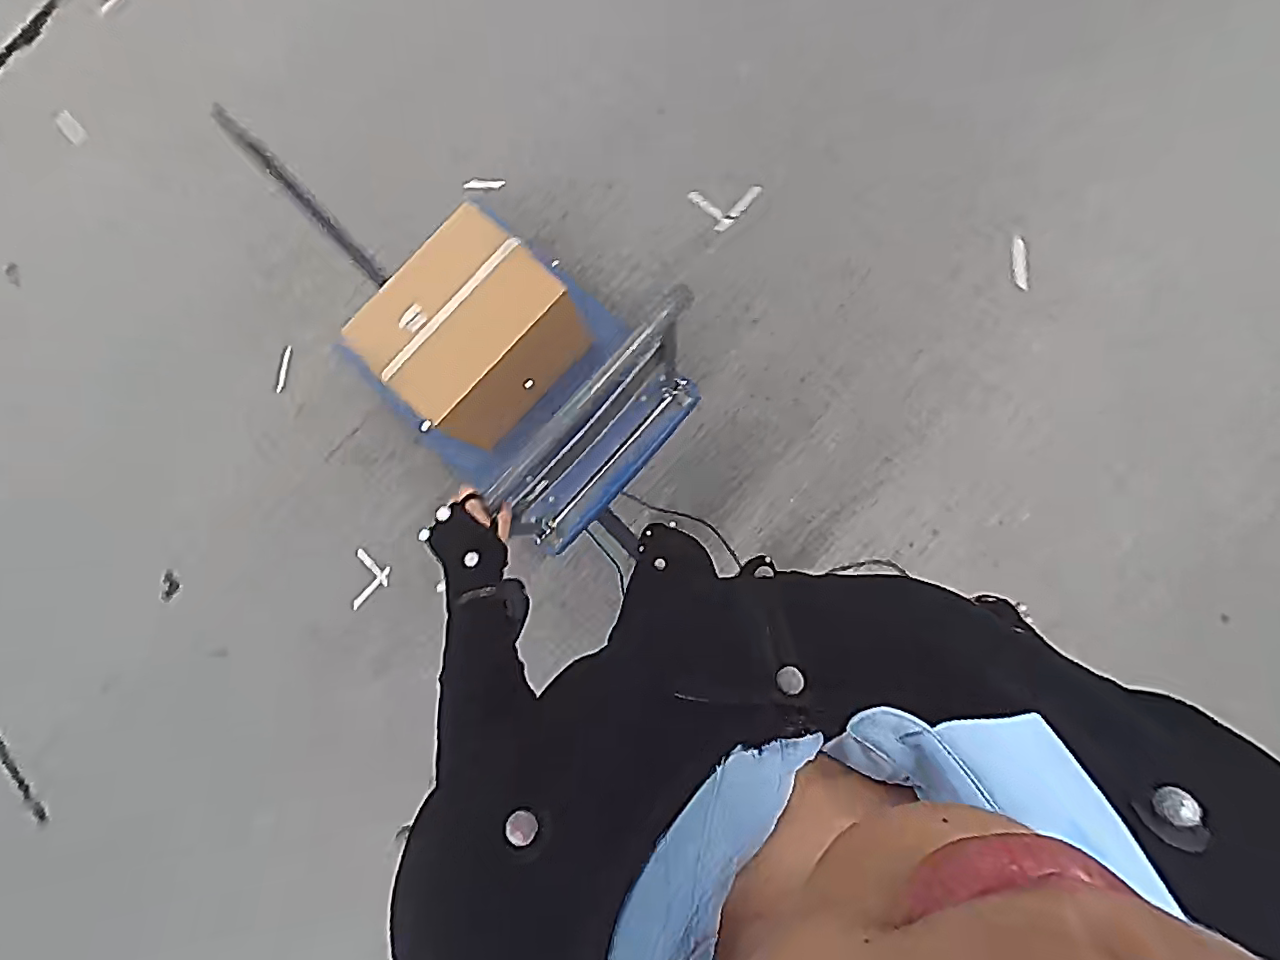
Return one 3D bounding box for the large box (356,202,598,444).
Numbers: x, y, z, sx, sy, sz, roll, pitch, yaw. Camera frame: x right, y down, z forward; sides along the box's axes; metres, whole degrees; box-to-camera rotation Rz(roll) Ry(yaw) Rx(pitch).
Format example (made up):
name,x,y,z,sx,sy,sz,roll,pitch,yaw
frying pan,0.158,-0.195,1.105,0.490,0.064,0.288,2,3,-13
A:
name,x,y,z,sx,sy,sz,roll,pitch,yaw
large box,-0.365,-0.350,1.305,0.320,0.320,0.408,44,91,10
